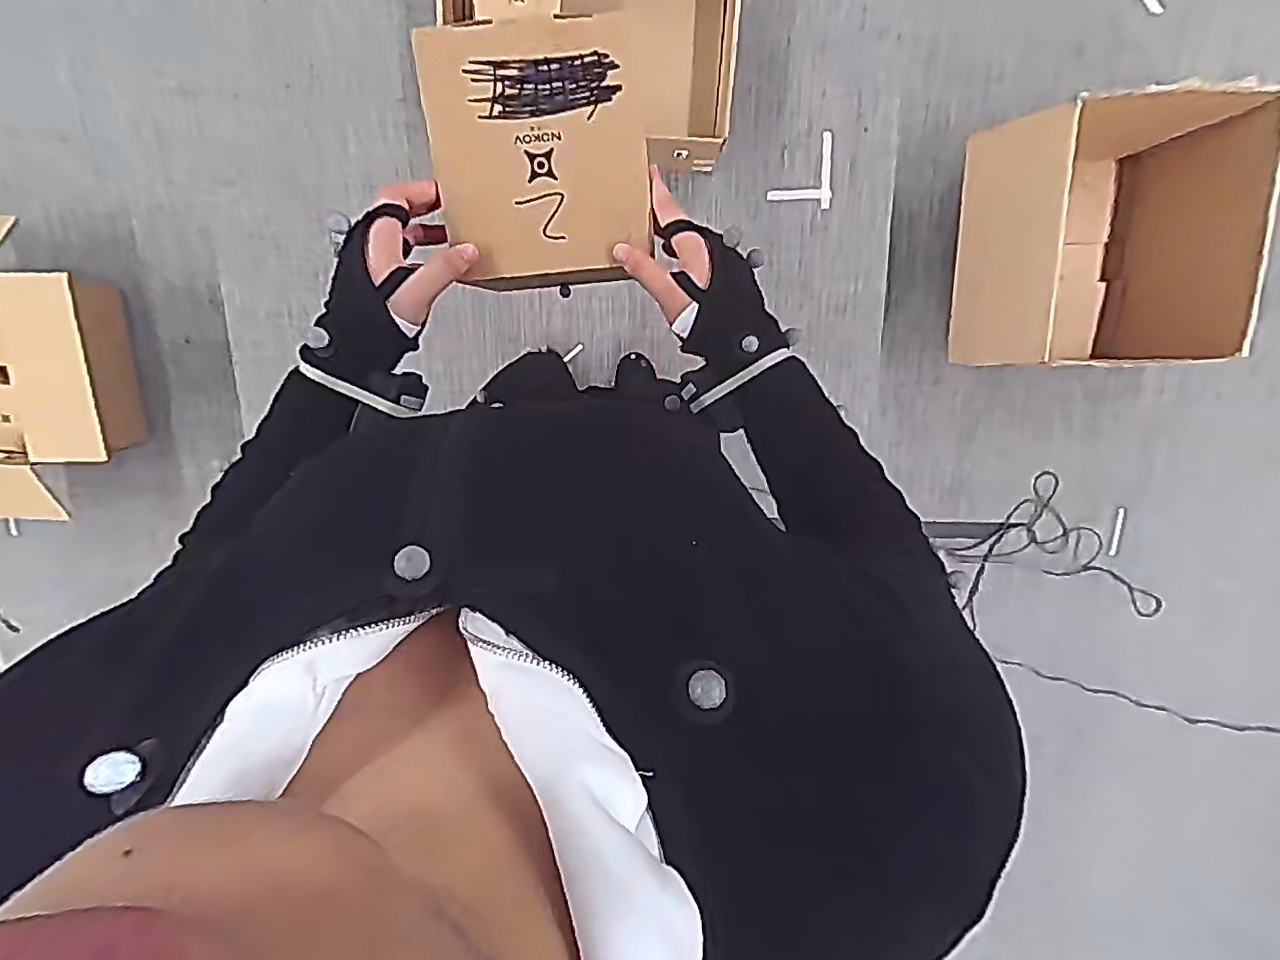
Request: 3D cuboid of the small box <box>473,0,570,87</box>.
[{"bbox_3d":[-0.250,-0.979,1.164,0.179,0.176,0.168,3,105,-2],"label":"small box"}]
